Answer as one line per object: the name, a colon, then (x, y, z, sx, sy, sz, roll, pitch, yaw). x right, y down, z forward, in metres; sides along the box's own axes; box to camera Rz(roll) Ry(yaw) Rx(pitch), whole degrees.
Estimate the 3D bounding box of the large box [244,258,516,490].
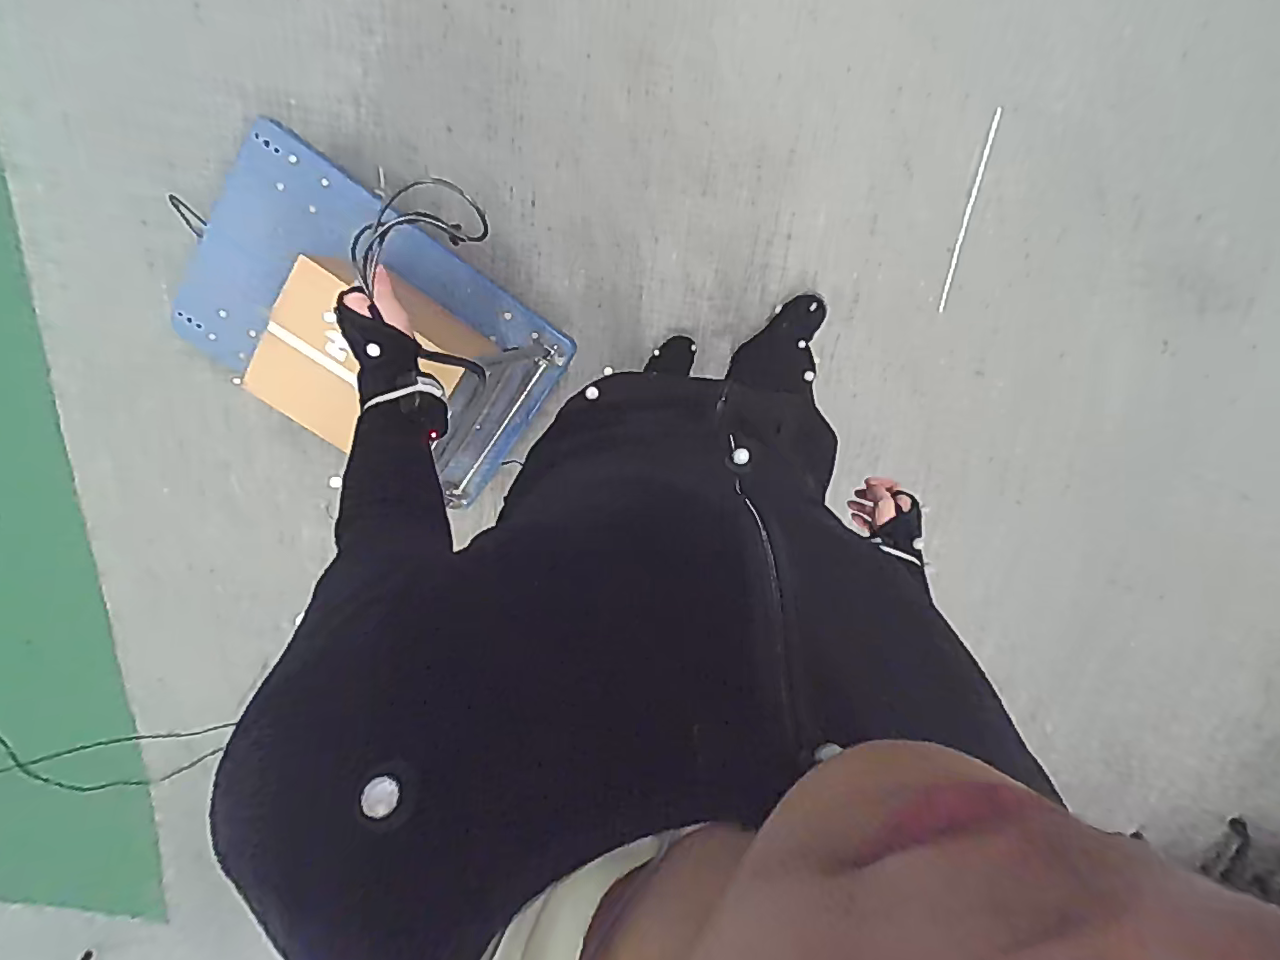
large box: (-0.559, -0.245, 1.234, 0.408, 0.320, 0.320, 35, 106, -9)
